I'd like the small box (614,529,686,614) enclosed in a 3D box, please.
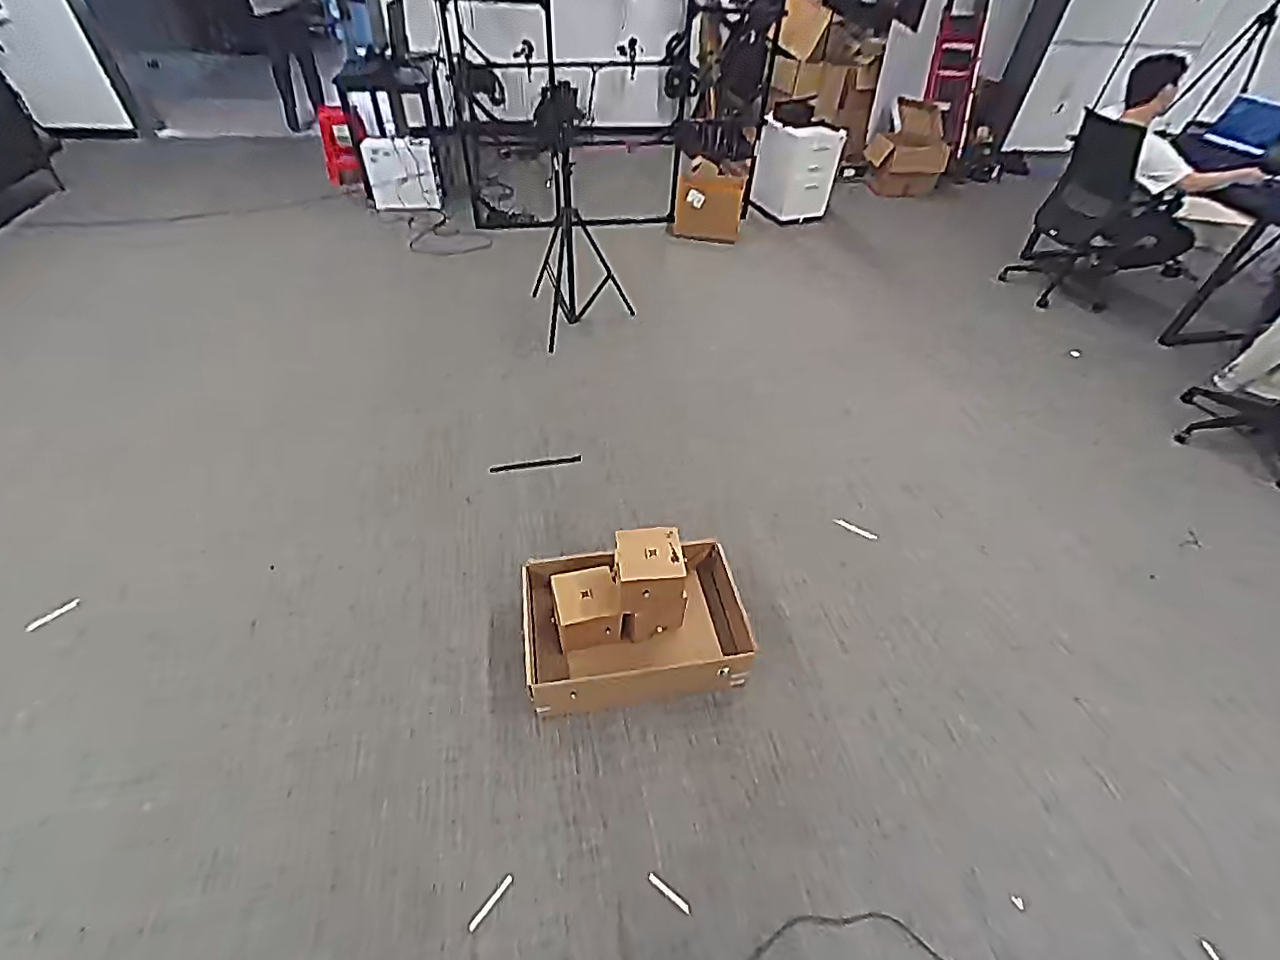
[{"bbox_3d":[0.024,0.255,1.492,0.179,0.176,0.168,-4,48,-6],"label":"small box"}]
